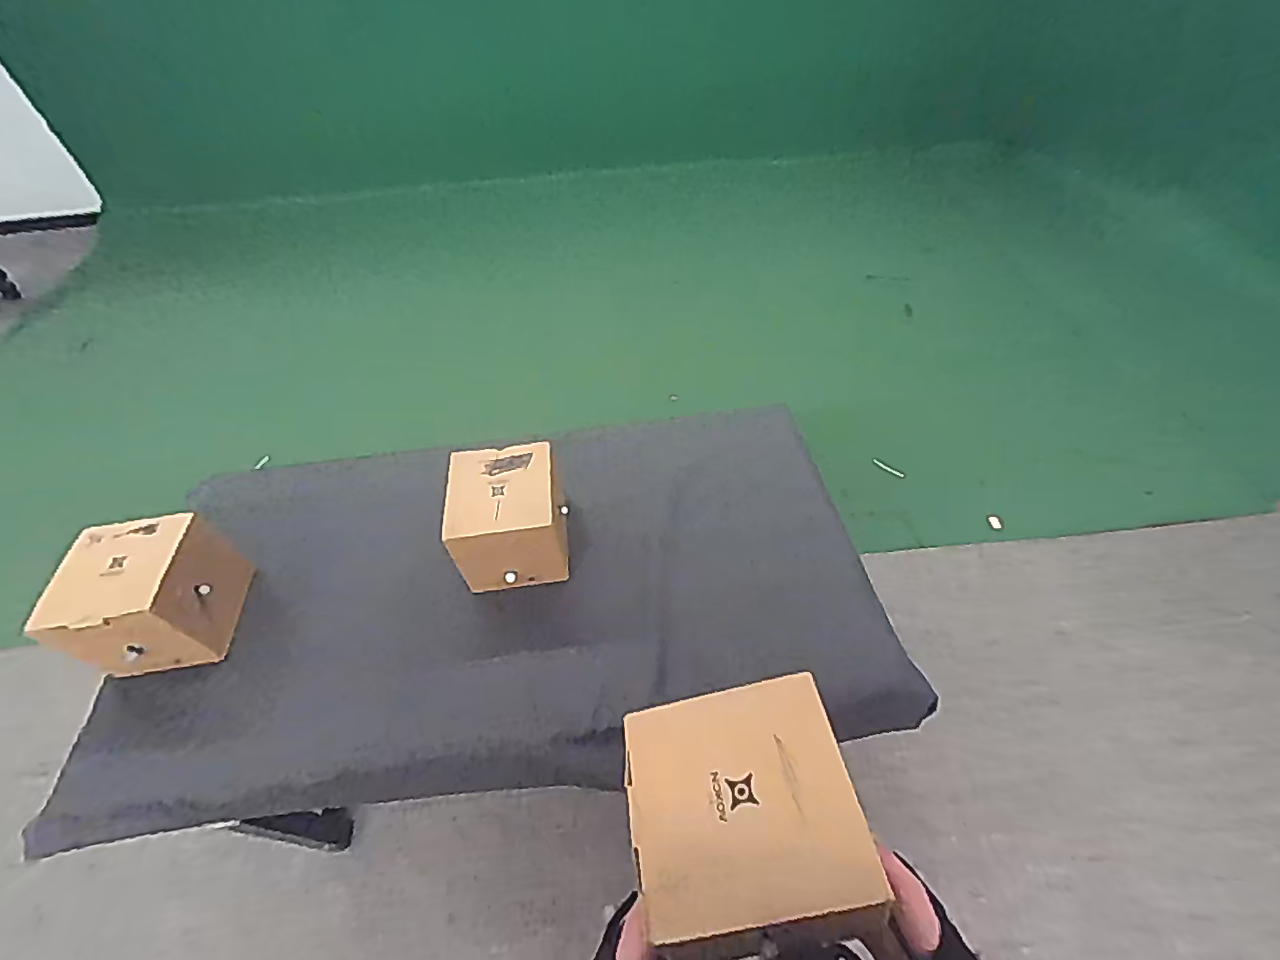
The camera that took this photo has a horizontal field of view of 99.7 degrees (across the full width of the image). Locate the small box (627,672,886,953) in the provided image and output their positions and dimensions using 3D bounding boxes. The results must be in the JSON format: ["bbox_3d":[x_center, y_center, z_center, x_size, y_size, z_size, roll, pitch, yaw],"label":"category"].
[{"bbox_3d":[0.099,0.306,0.494,0.179,0.176,0.168,-15,44,3],"label":"small box"}]

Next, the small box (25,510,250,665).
[{"bbox_3d":[-0.753,0.174,0.840,0.168,0.176,0.179,-8,51,-5],"label":"small box"}]

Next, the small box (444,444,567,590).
[{"bbox_3d":[-0.216,0.064,0.911,0.168,0.176,0.179,-7,52,-3],"label":"small box"}]
